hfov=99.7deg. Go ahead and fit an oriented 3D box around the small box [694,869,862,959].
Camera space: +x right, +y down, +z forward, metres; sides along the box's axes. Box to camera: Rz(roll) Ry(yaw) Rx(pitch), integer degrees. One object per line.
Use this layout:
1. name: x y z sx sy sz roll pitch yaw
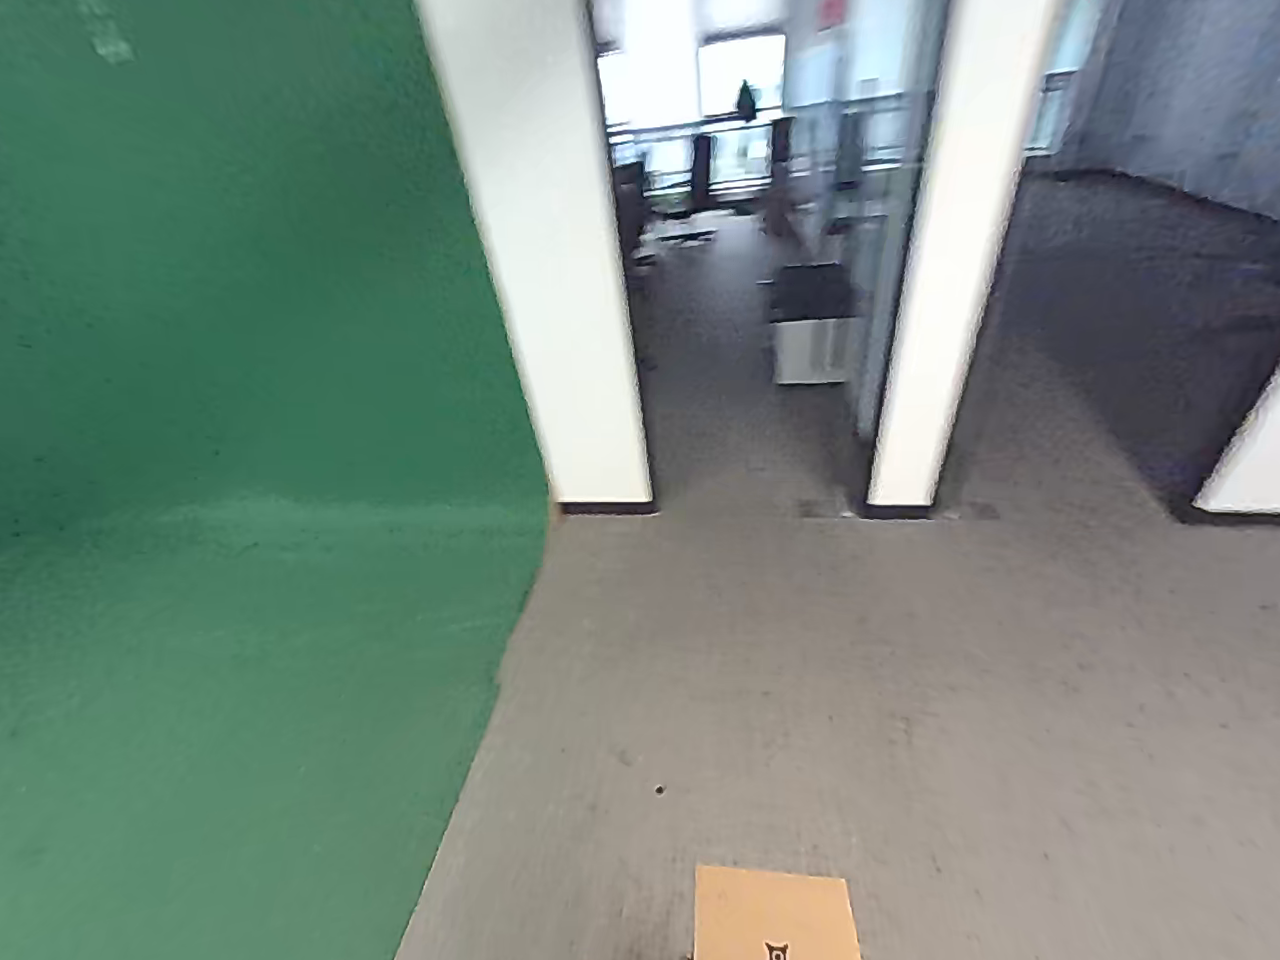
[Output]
1. small box: 0.139 0.552 0.565 0.168 0.176 0.179 0 28 6
